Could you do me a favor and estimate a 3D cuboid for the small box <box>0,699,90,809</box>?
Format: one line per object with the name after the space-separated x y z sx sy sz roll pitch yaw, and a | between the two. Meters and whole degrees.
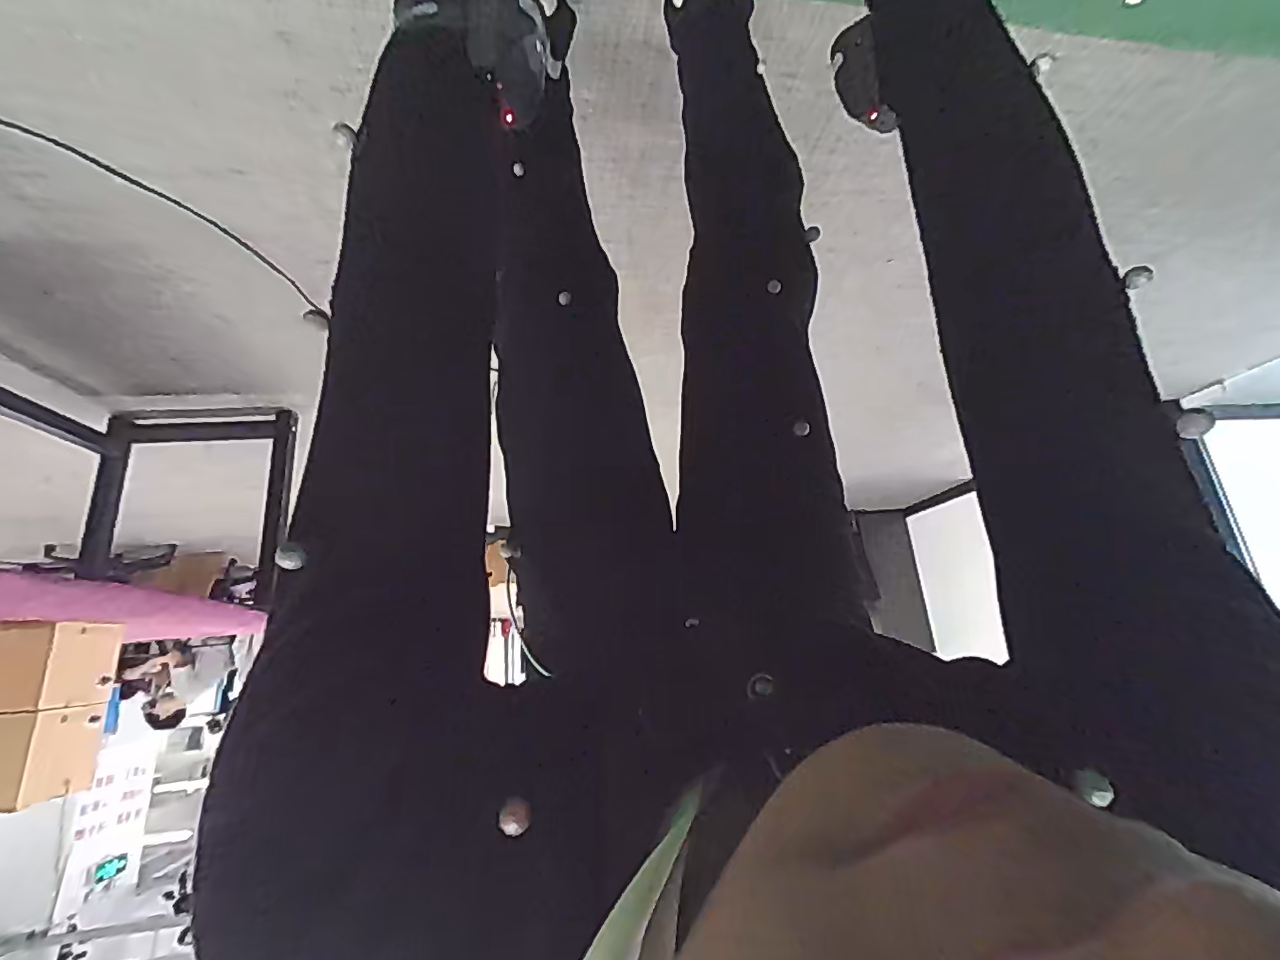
-1.212 0.517 1.030 0.179 0.176 0.168 -1 164 -8 | small box
